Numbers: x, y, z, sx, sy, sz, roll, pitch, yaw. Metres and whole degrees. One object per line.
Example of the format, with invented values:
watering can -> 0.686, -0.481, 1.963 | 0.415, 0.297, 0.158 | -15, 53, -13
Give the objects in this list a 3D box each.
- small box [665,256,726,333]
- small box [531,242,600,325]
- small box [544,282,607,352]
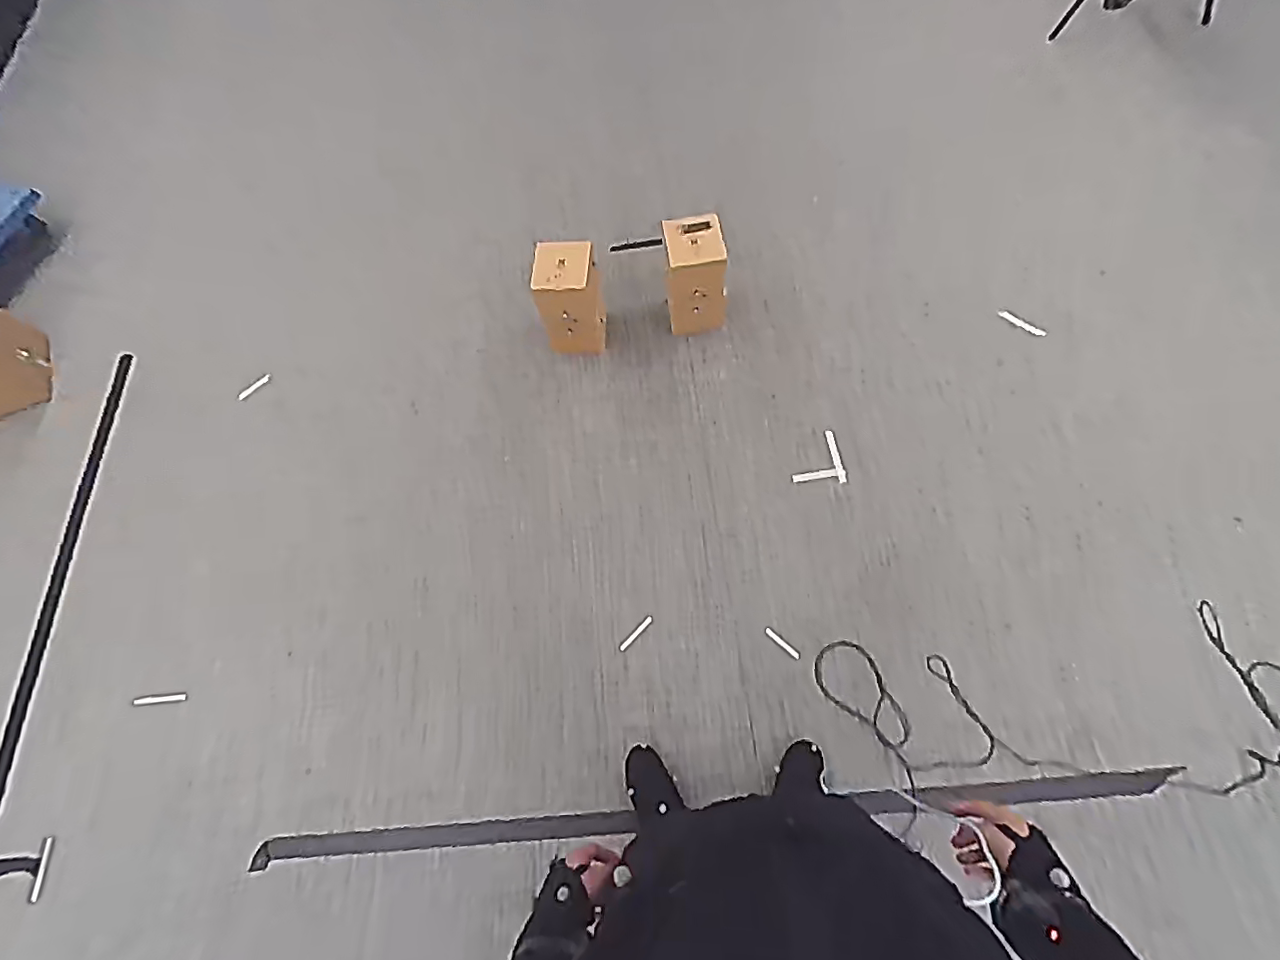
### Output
small box -> 0.182, -0.611, 1.798 | 0.179, 0.176, 0.168 | -8, 69, 1
small box -> -0.220, -0.598, 1.651 | 0.168, 0.176, 0.179 | 2, 70, 7
small box -> -0.207, -0.541, 1.806 | 0.179, 0.176, 0.168 | 0, 69, 6
